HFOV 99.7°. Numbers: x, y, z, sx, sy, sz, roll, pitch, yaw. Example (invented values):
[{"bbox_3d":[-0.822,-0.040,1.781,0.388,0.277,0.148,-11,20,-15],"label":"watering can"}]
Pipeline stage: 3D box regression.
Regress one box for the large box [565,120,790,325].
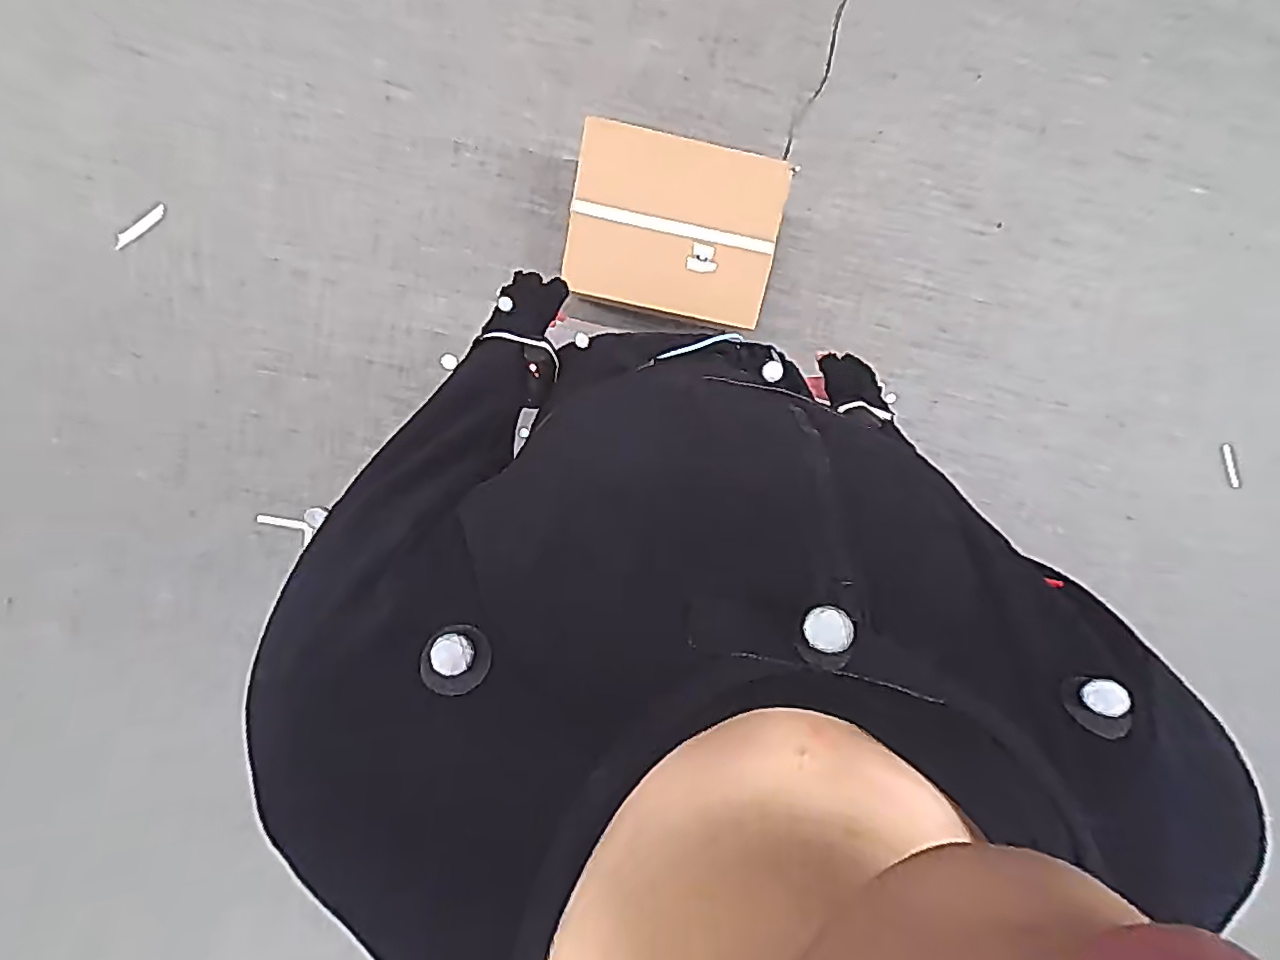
[{"bbox_3d":[0.064,-0.542,1.211,0.408,0.320,0.320,11,106,-4],"label":"large box"}]
